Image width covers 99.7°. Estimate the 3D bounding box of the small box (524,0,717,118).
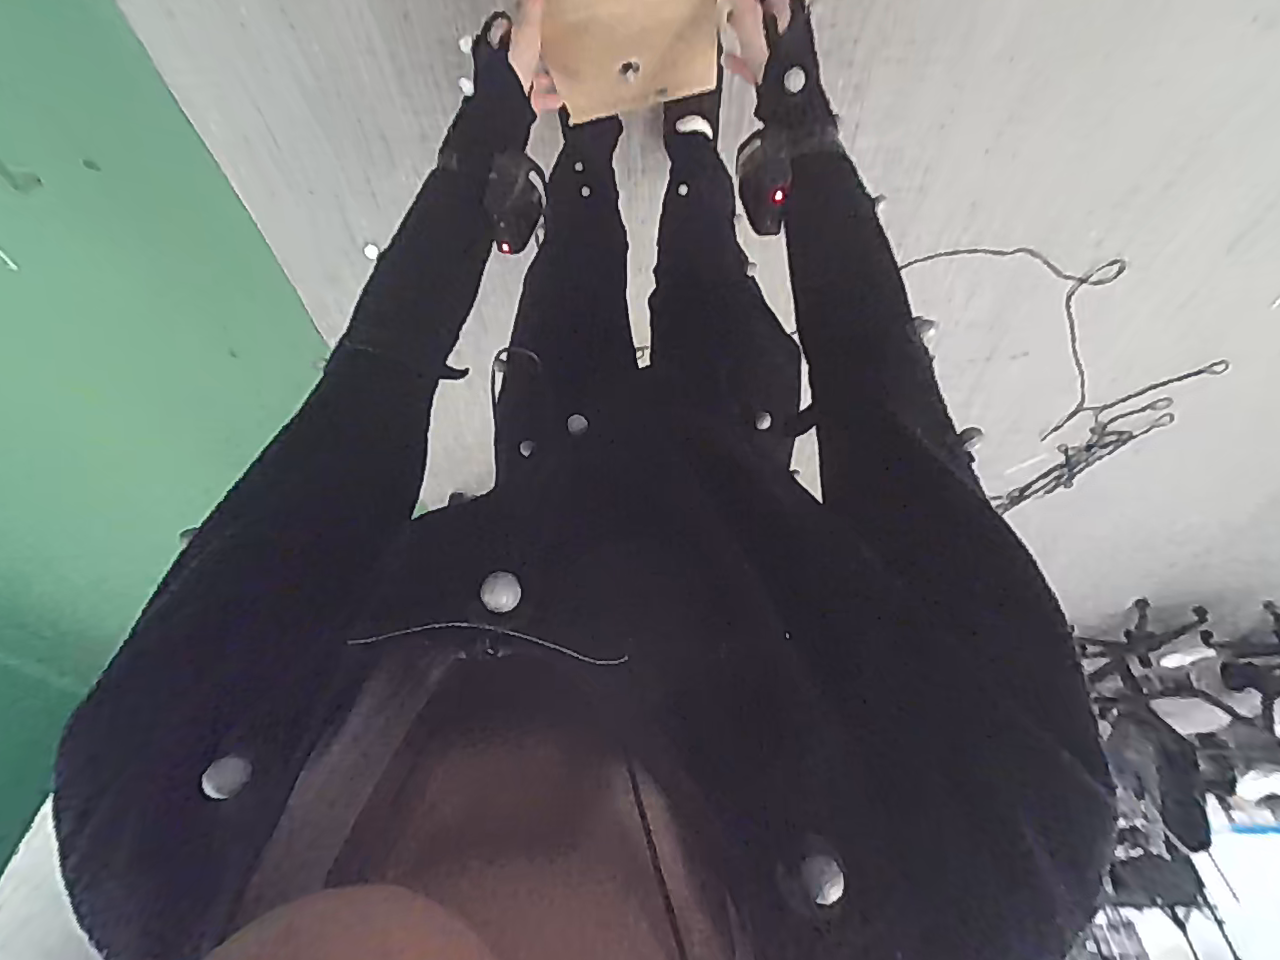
[{"bbox_3d":[-0.017,-0.487,0.524,0.168,0.176,0.179,-9,98,9],"label":"small box"}]
